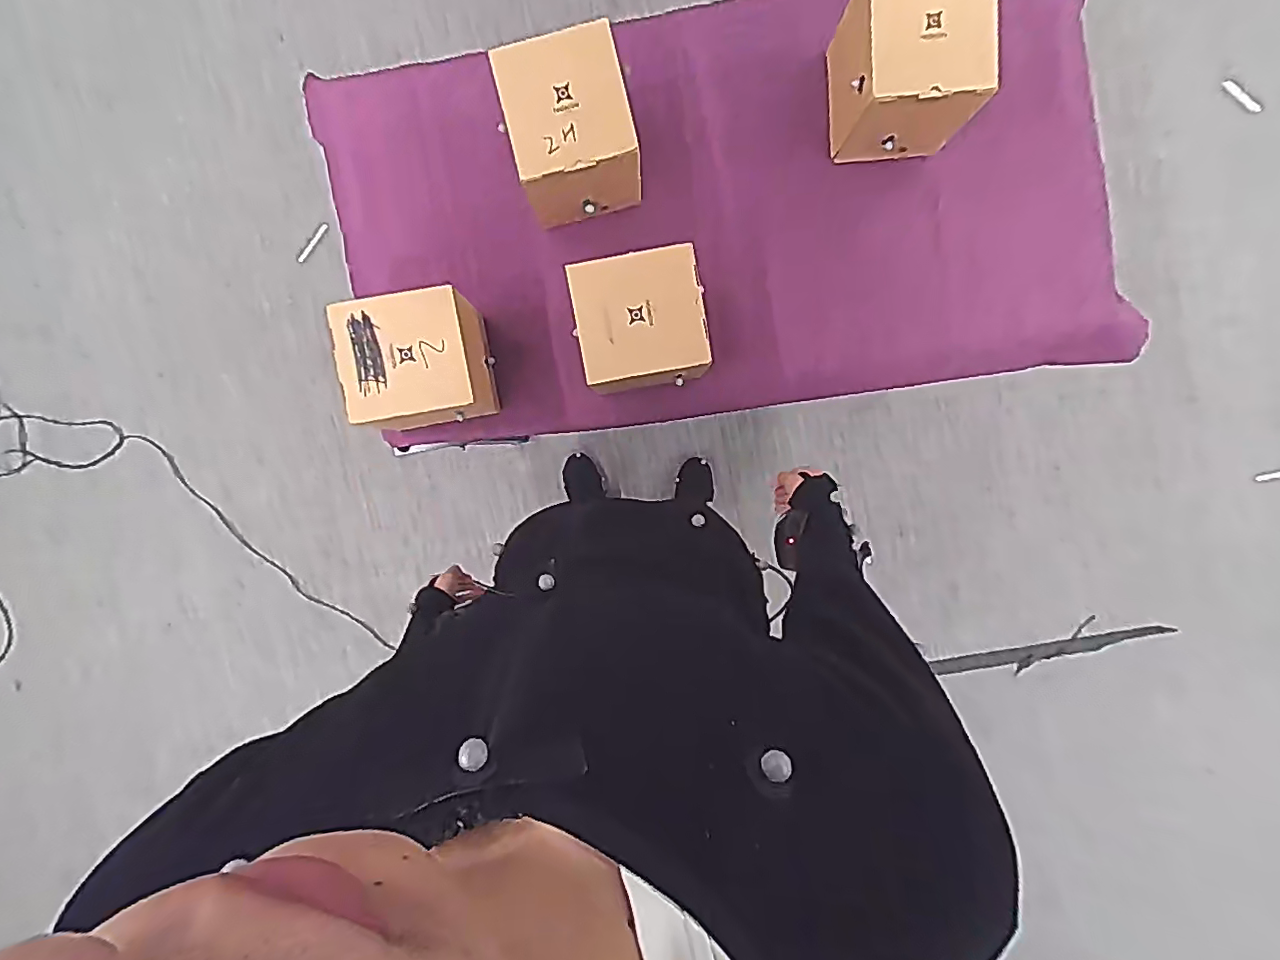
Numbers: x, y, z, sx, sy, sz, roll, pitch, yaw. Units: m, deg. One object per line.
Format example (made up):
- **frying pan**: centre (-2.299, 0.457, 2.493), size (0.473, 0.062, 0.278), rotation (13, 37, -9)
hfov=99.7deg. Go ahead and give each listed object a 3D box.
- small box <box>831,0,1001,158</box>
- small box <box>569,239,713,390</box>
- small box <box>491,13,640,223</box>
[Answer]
- **small box**: centre (0.382, -0.599, 0.774), size (0.168, 0.176, 0.179), rotation (-4, 95, 2)
- **small box**: centre (0.001, -0.234, 0.803), size (0.179, 0.176, 0.168), rotation (-10, 93, 1)
- **small box**: centre (-0.098, -0.511, 0.789), size (0.168, 0.176, 0.179), rotation (-14, 94, 2)
